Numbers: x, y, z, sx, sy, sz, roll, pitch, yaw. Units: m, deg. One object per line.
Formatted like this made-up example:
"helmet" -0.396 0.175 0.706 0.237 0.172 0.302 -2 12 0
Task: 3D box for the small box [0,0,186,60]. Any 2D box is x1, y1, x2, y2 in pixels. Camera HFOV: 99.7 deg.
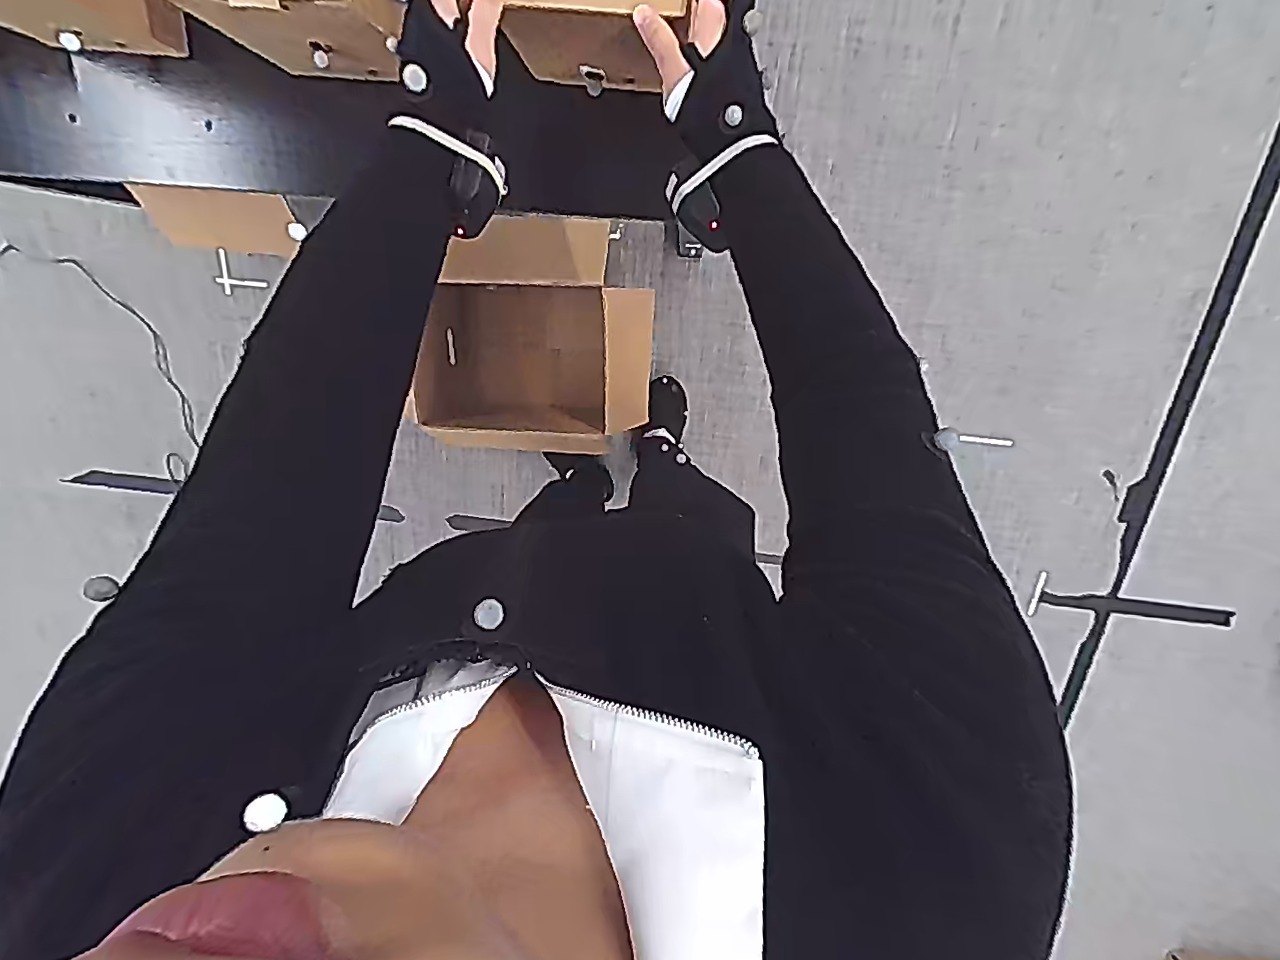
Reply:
"small box" -0.580 -0.537 0.503 0.168 0.176 0.179 6 109 2

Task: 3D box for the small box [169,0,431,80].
"small box" -0.306 -0.501 0.498 0.168 0.176 0.179 6 108 2

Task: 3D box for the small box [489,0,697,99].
"small box" -0.030 -0.480 0.486 0.168 0.176 0.179 7 108 3
